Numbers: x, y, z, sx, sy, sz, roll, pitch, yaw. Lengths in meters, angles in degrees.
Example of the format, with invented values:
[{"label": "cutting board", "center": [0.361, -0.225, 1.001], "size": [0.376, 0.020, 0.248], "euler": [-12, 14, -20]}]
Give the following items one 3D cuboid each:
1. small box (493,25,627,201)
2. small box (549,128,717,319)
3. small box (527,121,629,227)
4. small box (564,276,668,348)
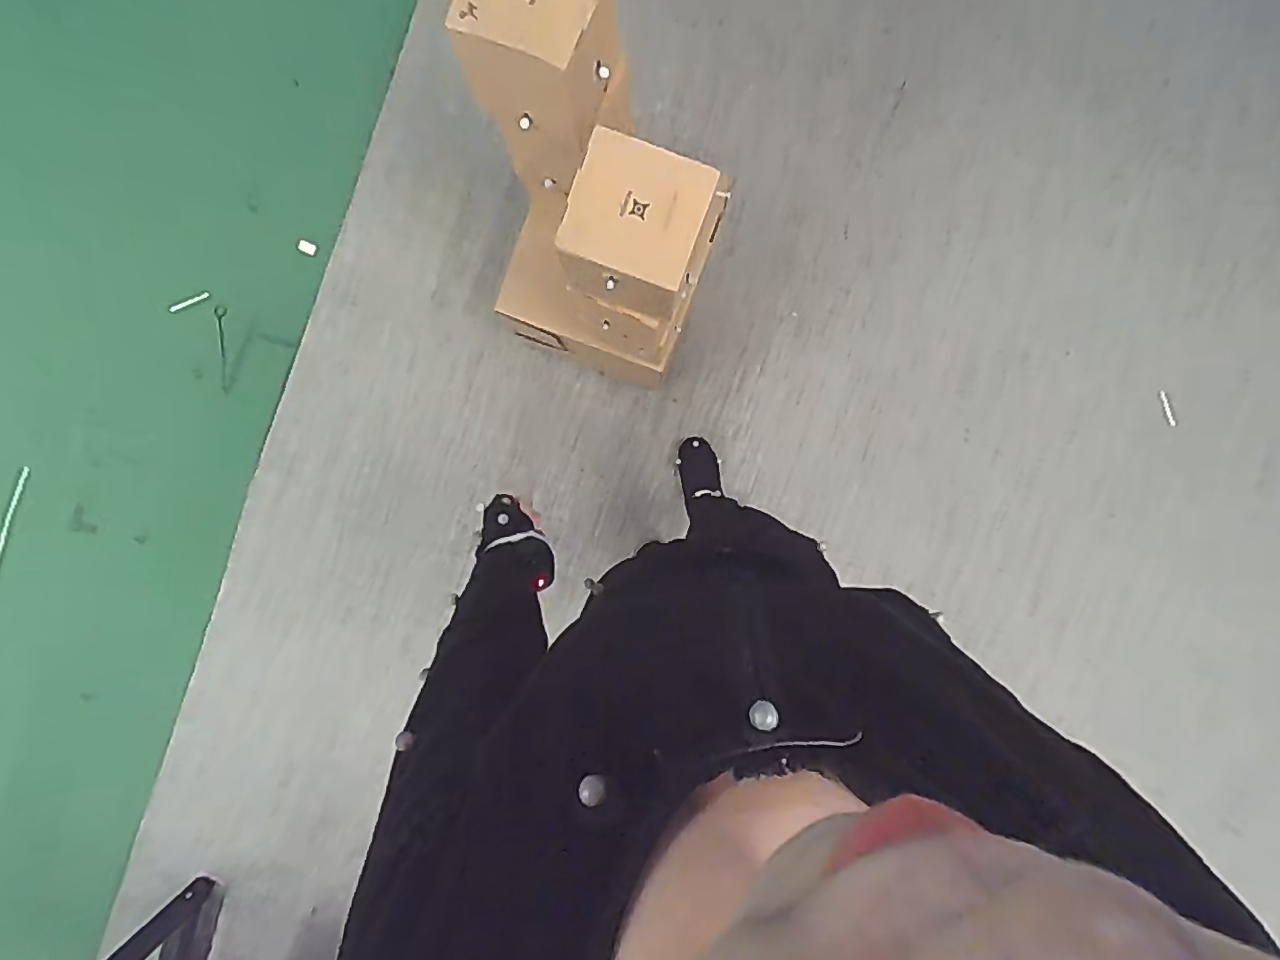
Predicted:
[{"label": "small box", "center": [-0.129, -0.619, 0.944], "size": [0.168, 0.176, 0.179], "euler": [23, 89, 2]}, {"label": "small box", "center": [-0.009, -0.351, 0.777], "size": [0.179, 0.176, 0.168], "euler": [20, 92, -1]}, {"label": "small box", "center": [-0.128, -0.630, 1.109], "size": [0.168, 0.176, 0.179], "euler": [20, 88, 2]}, {"label": "small box", "center": [-0.016, -0.354, 0.940], "size": [0.168, 0.176, 0.179], "euler": [24, 92, 0]}]
